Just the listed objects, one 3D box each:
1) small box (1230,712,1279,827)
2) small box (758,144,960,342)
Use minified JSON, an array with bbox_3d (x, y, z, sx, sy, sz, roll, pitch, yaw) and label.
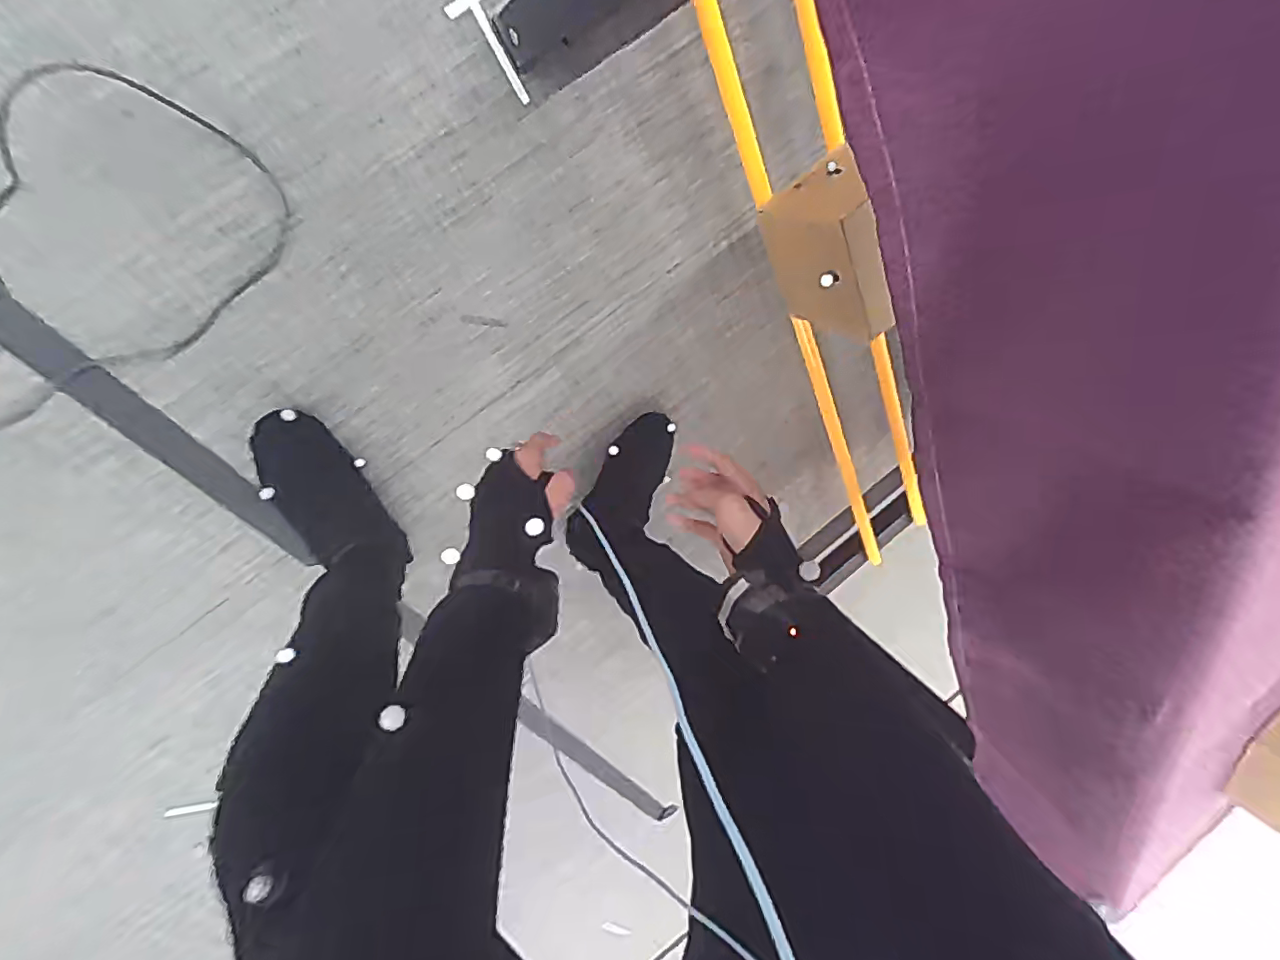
[{"bbox_3d":[0.724,0.287,0.508,0.168,0.176,0.179,-38,127,-5],"label":"small box"},{"bbox_3d":[0.292,-0.320,0.731,0.168,0.176,0.179,-39,127,-4],"label":"small box"}]
